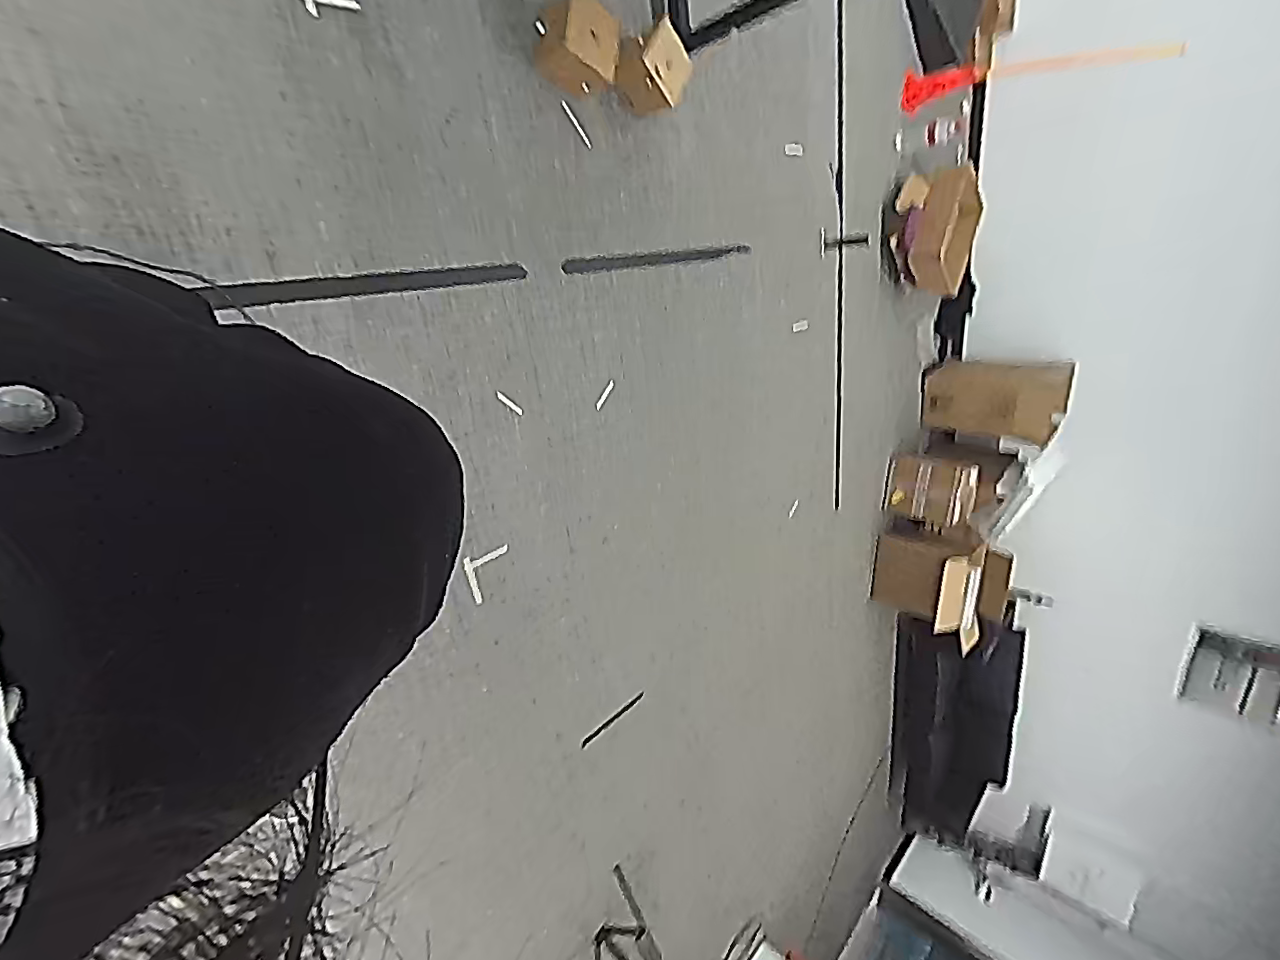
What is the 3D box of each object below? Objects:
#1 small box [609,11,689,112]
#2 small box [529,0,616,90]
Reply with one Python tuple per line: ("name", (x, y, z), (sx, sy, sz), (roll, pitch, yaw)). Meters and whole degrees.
("small box", (0.025, -1.345, 1.750), (0.168, 0.176, 0.179), (33, 77, -44))
("small box", (-0.195, -1.265, 1.557), (0.179, 0.176, 0.168), (2, 99, -44))
